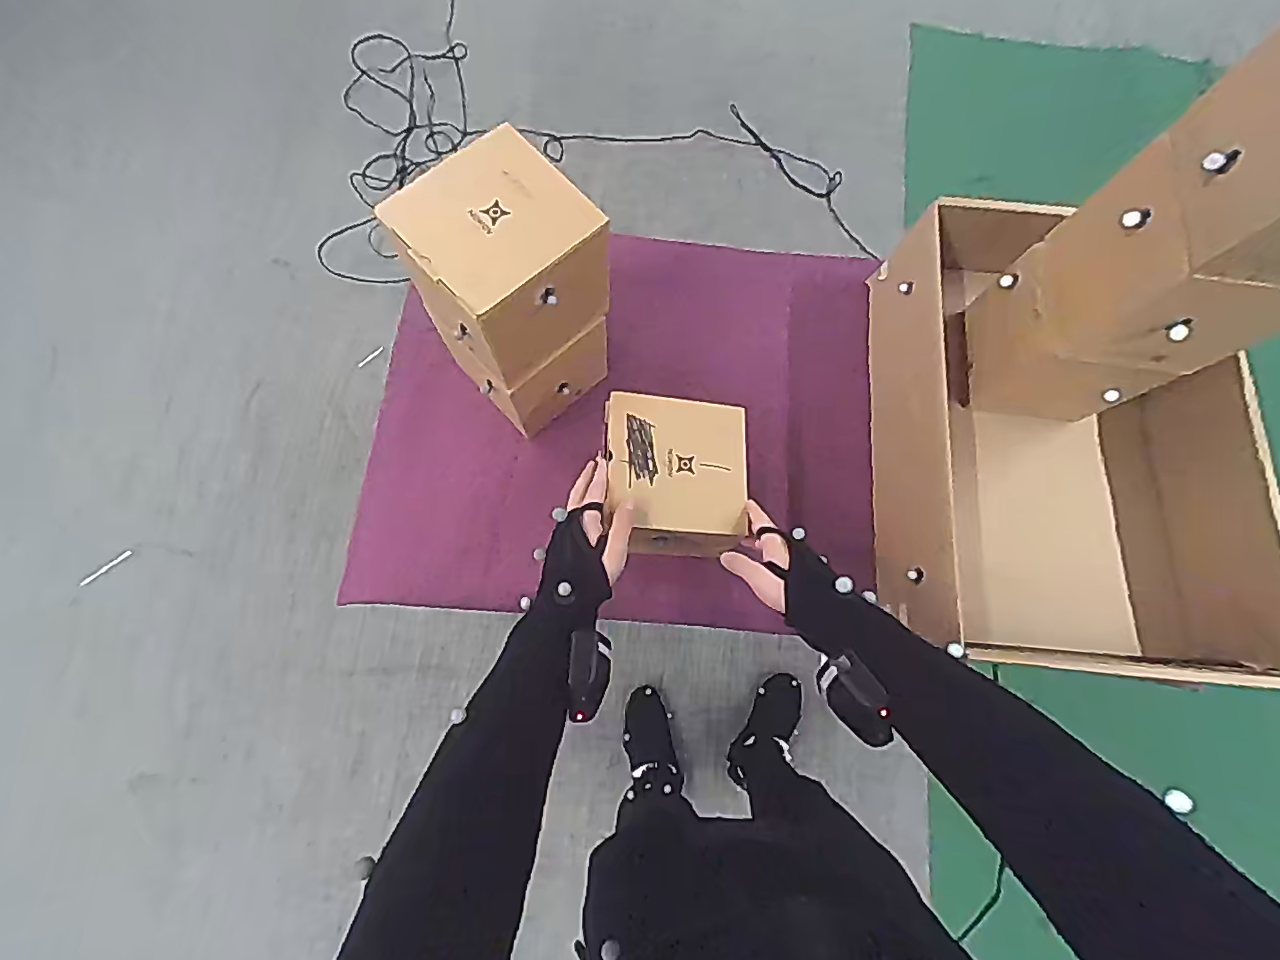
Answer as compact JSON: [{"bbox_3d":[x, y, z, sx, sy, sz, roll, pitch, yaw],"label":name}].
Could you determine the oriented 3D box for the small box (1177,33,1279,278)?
[{"bbox_3d":[0.599,-0.278,0.438,0.168,0.176,0.179,8,76,0],"label":"small box"}]

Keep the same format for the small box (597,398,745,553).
[{"bbox_3d":[0.037,0.003,0.727,0.179,0.176,0.168,3,74,-2],"label":"small box"}]

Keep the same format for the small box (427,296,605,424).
[{"bbox_3d":[-0.163,-0.201,0.775,0.168,0.176,0.179,-41,80,-13],"label":"small box"}]

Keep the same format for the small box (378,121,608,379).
[{"bbox_3d":[-0.149,-0.247,0.620,0.179,0.176,0.168,-41,82,-12],"label":"small box"}]

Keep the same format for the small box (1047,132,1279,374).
[{"bbox_3d":[0.593,-0.235,0.597,0.168,0.176,0.179,7,75,0],"label":"small box"}]
